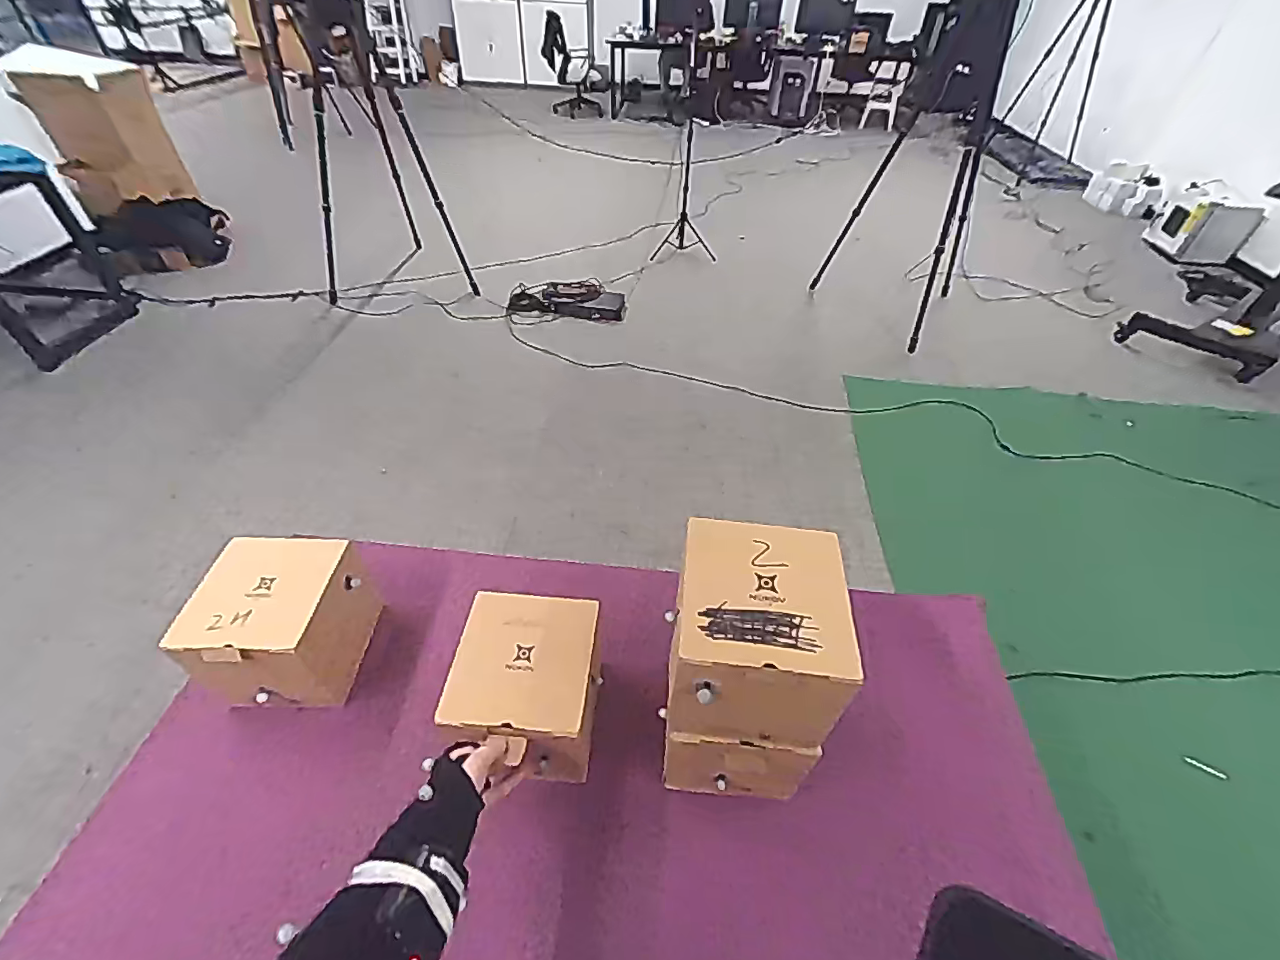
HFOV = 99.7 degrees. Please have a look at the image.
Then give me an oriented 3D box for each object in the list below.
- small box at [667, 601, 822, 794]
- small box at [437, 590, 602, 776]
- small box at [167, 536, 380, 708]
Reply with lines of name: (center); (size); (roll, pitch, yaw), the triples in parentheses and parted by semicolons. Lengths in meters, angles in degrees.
small box: (0.124, 0.284, 0.708); (0.168, 0.176, 0.179); (4, 46, 3)
small box: (-0.142, 0.270, 0.714); (0.168, 0.176, 0.179); (4, 45, 2)
small box: (-0.495, 0.201, 0.770); (0.168, 0.176, 0.179); (1, 45, 0)
